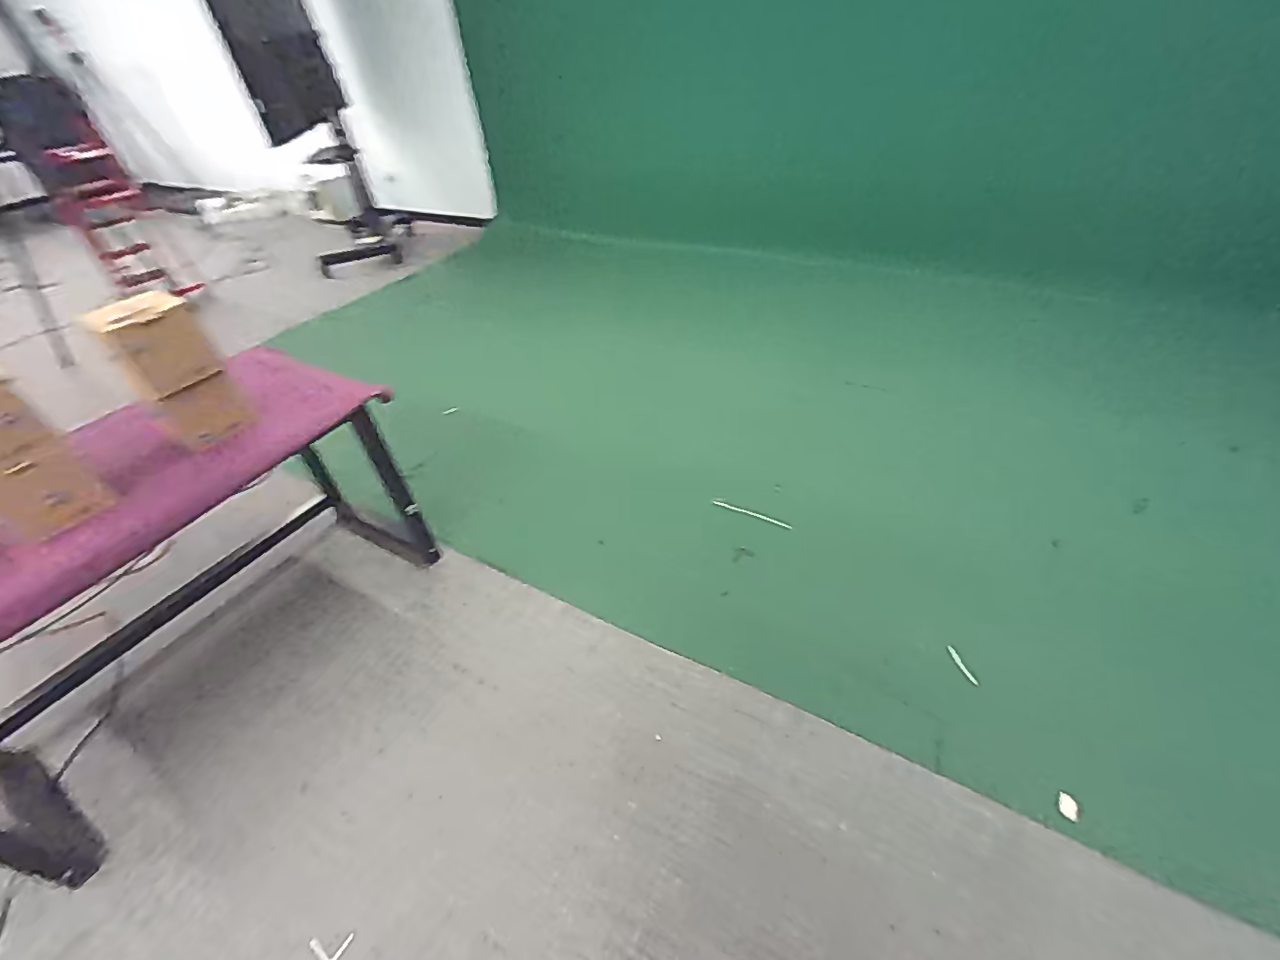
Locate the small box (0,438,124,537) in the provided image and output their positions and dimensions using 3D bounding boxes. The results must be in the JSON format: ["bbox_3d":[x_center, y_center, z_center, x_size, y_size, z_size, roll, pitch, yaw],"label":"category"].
[{"bbox_3d":[-1.287,-0.002,1.170,0.179,0.176,0.168,23,49,27],"label":"small box"}]

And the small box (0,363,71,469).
[{"bbox_3d":[-1.298,-0.127,1.066,0.179,0.176,0.168,22,48,27],"label":"small box"}]

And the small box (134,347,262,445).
[{"bbox_3d":[-1.116,-0.212,1.379,0.179,0.176,0.168,23,48,28],"label":"small box"}]
